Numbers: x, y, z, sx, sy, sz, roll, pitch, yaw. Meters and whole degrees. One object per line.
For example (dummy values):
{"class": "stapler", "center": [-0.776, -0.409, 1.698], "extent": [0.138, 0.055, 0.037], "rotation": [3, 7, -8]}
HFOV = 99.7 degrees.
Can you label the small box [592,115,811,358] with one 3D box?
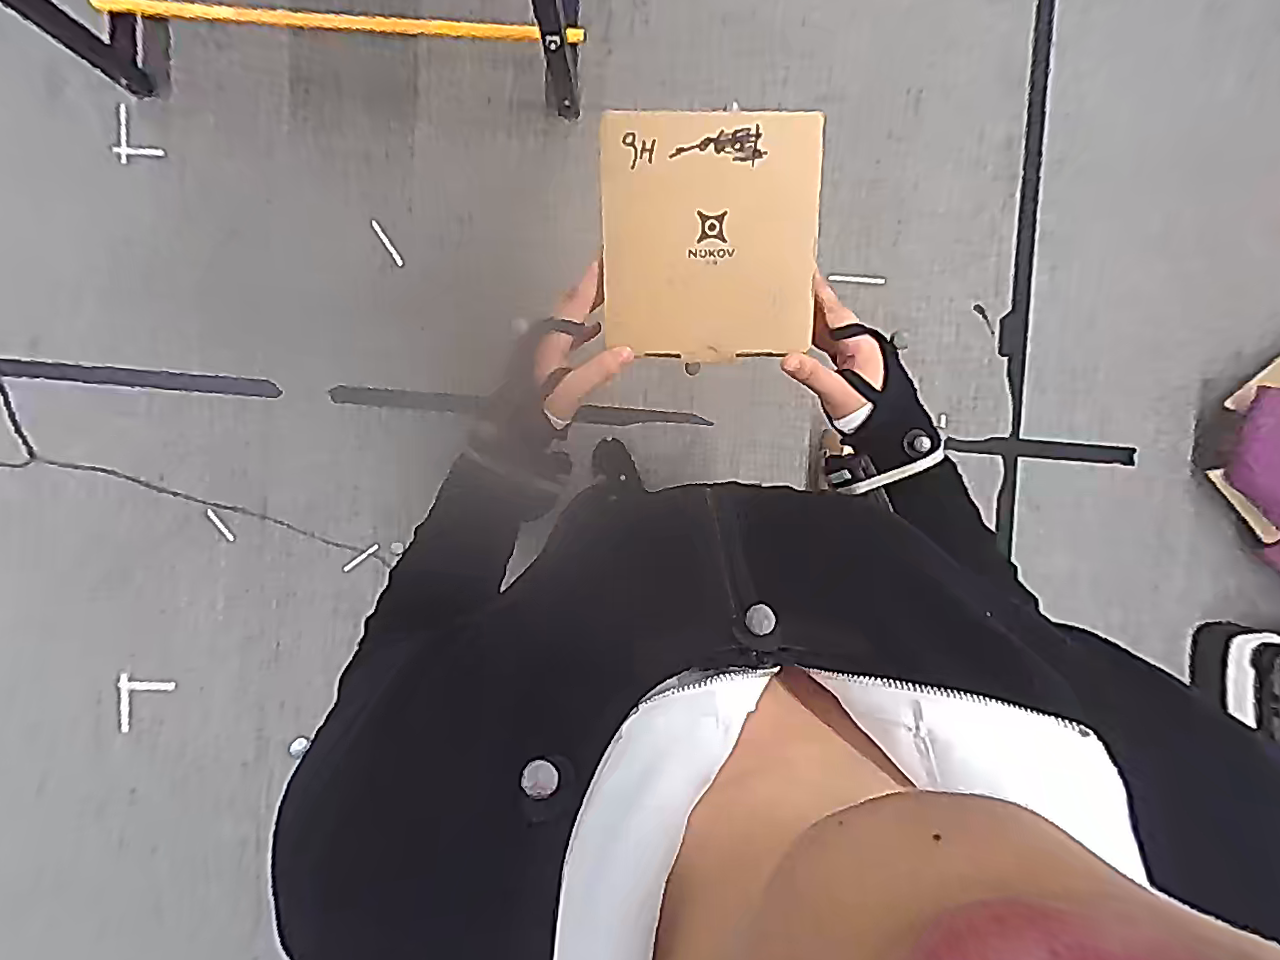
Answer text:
{"class": "small box", "center": [0.045, -0.206, 0.498], "extent": [0.168, 0.176, 0.179], "rotation": [-1, 104, -1]}
